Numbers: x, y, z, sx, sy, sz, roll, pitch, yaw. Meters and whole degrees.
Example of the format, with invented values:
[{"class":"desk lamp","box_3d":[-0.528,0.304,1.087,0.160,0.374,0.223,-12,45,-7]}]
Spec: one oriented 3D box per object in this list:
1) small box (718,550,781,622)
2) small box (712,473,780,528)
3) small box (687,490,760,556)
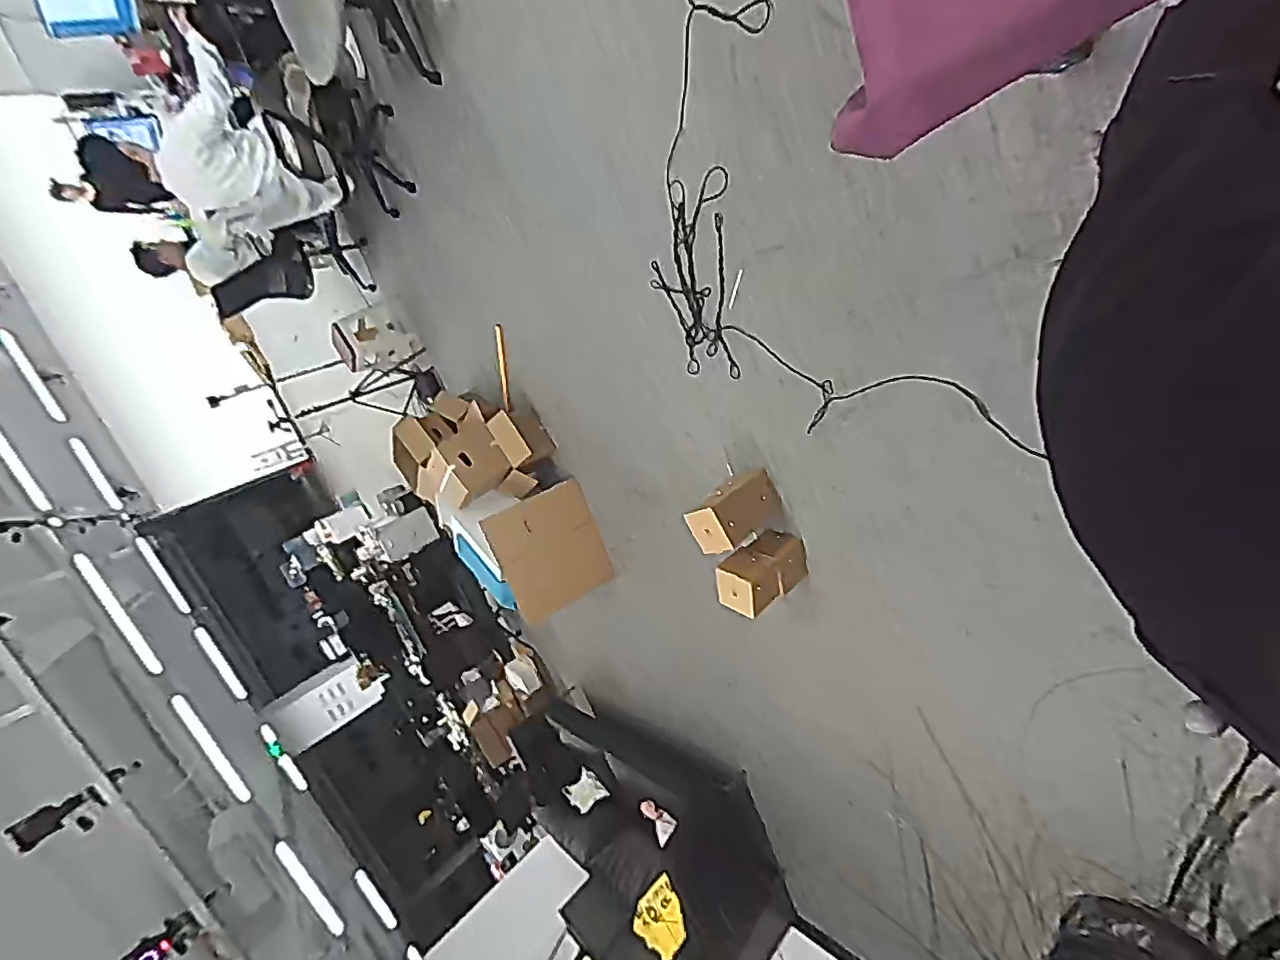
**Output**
[{"class":"small box","box_3d":[0.418,0.395,2.045,0.168,0.176,0.179,19,128,45]},{"class":"small box","box_3d":[0.418,0.085,2.096,0.179,0.176,0.168,-15,103,56]},{"class":"small box","box_3d":[0.312,0.160,1.996,0.168,0.176,0.179,-23,97,55]}]
